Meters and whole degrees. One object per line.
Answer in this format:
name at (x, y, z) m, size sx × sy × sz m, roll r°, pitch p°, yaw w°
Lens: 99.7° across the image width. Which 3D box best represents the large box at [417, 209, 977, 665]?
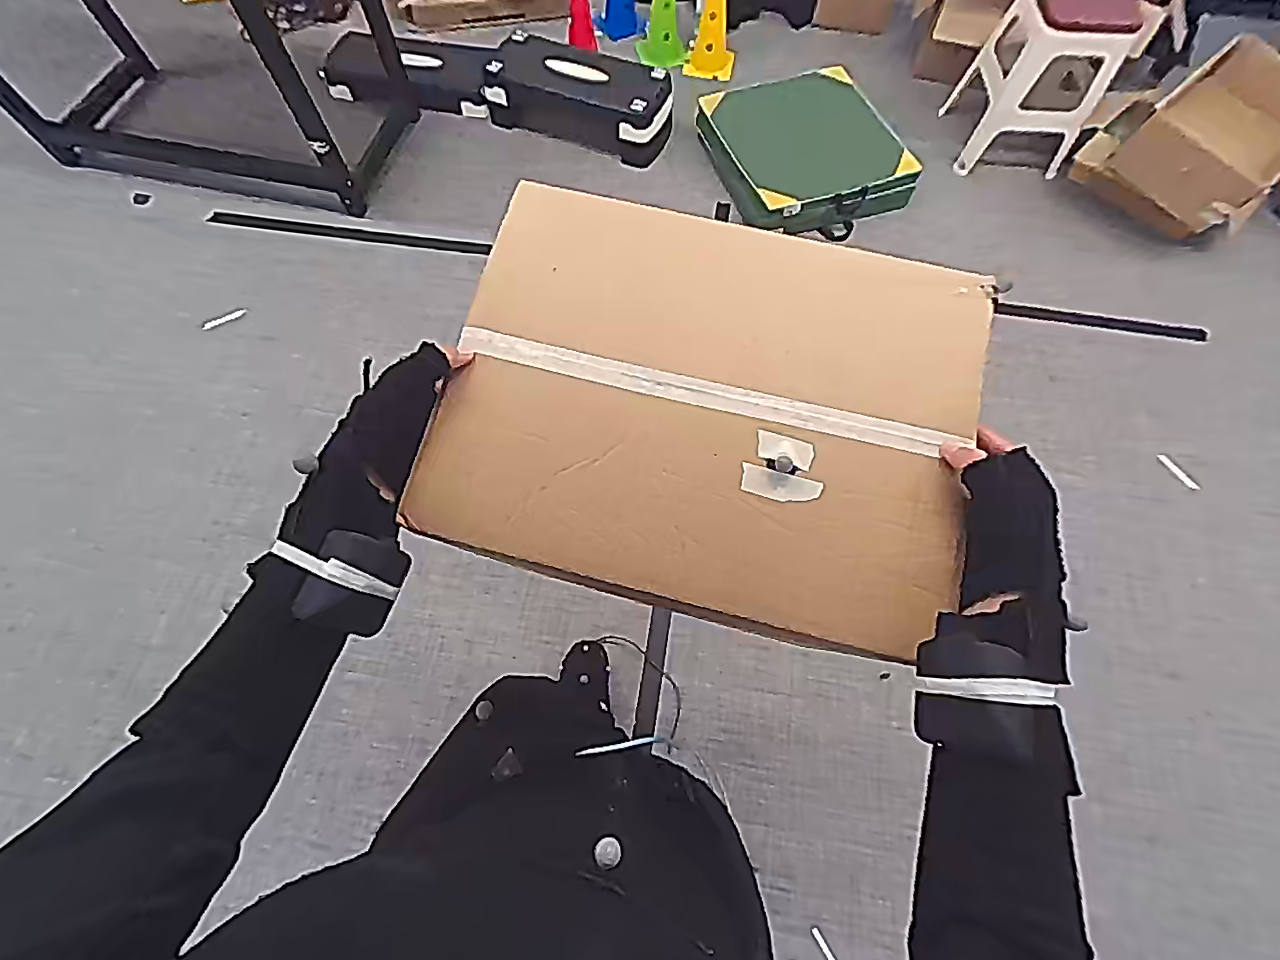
large box at (0.055, -0.019, 0.575) m, size 0.408 × 0.320 × 0.320 m, roll 14°, pitch 78°, yaw 4°
